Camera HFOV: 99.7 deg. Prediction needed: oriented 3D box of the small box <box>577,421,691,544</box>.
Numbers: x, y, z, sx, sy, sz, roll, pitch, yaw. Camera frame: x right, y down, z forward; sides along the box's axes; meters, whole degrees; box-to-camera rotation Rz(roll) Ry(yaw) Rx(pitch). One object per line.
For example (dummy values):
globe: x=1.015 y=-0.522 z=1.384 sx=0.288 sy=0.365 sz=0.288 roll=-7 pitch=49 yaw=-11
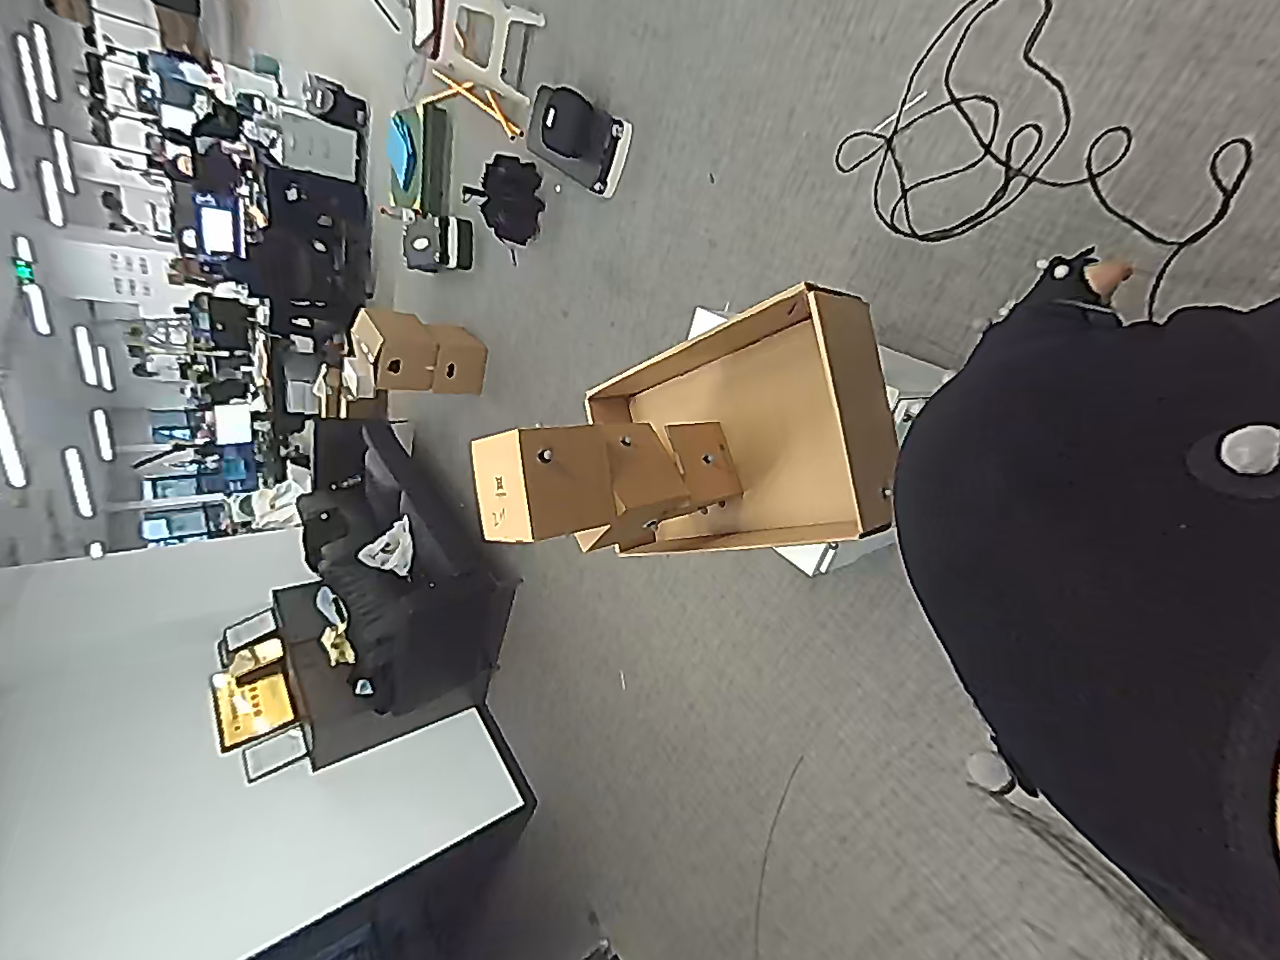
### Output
small box: x=-0.036 y=-0.001 z=1.049 sx=0.168 sy=0.176 sz=0.179 roll=-48 pitch=64 yaw=42

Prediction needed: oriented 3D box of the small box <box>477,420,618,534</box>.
small box: x=-0.158 y=-0.009 z=0.934 sx=0.168 sy=0.176 sz=0.179 roll=-5 pitch=94 yaw=49
